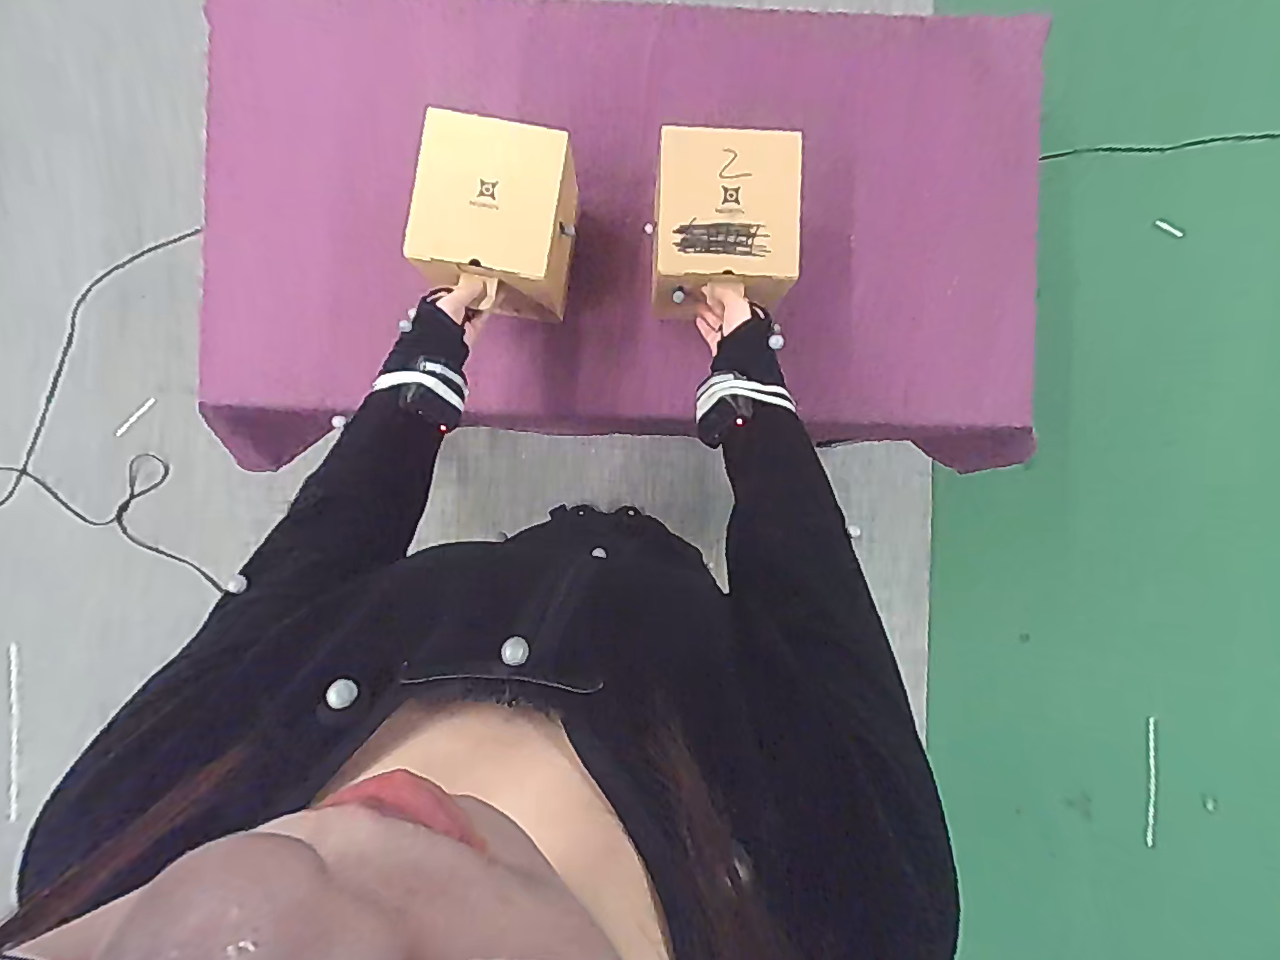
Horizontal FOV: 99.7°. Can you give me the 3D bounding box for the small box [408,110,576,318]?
[{"bbox_3d":[-0.181,-0.335,0.715,0.168,0.176,0.179,9,90,-2],"label":"small box"}]
